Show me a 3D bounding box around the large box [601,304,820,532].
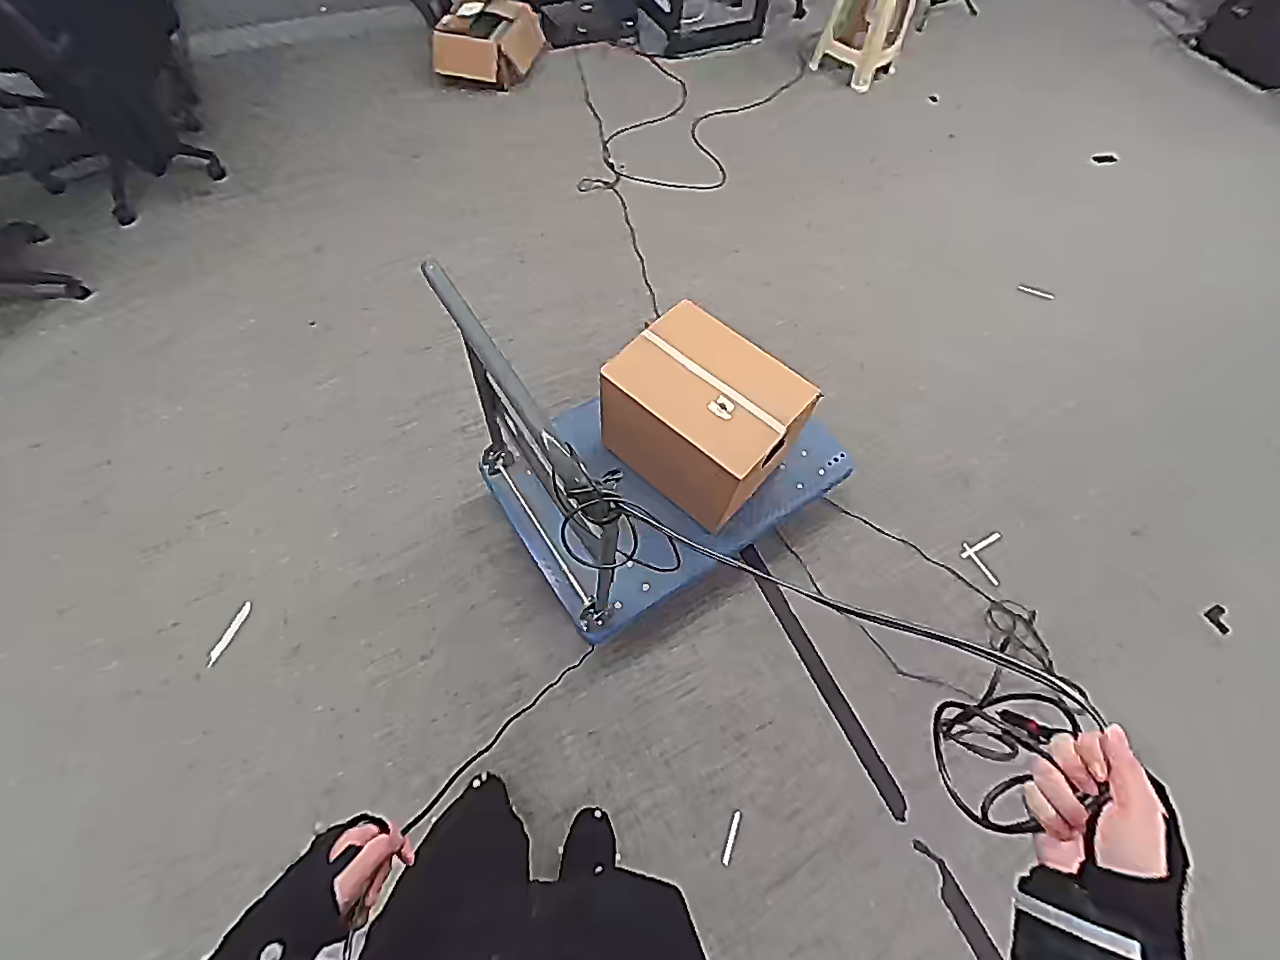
[{"bbox_3d":[0.149,-0.147,1.340,0.408,0.320,0.320,40,68,15],"label":"large box"}]
